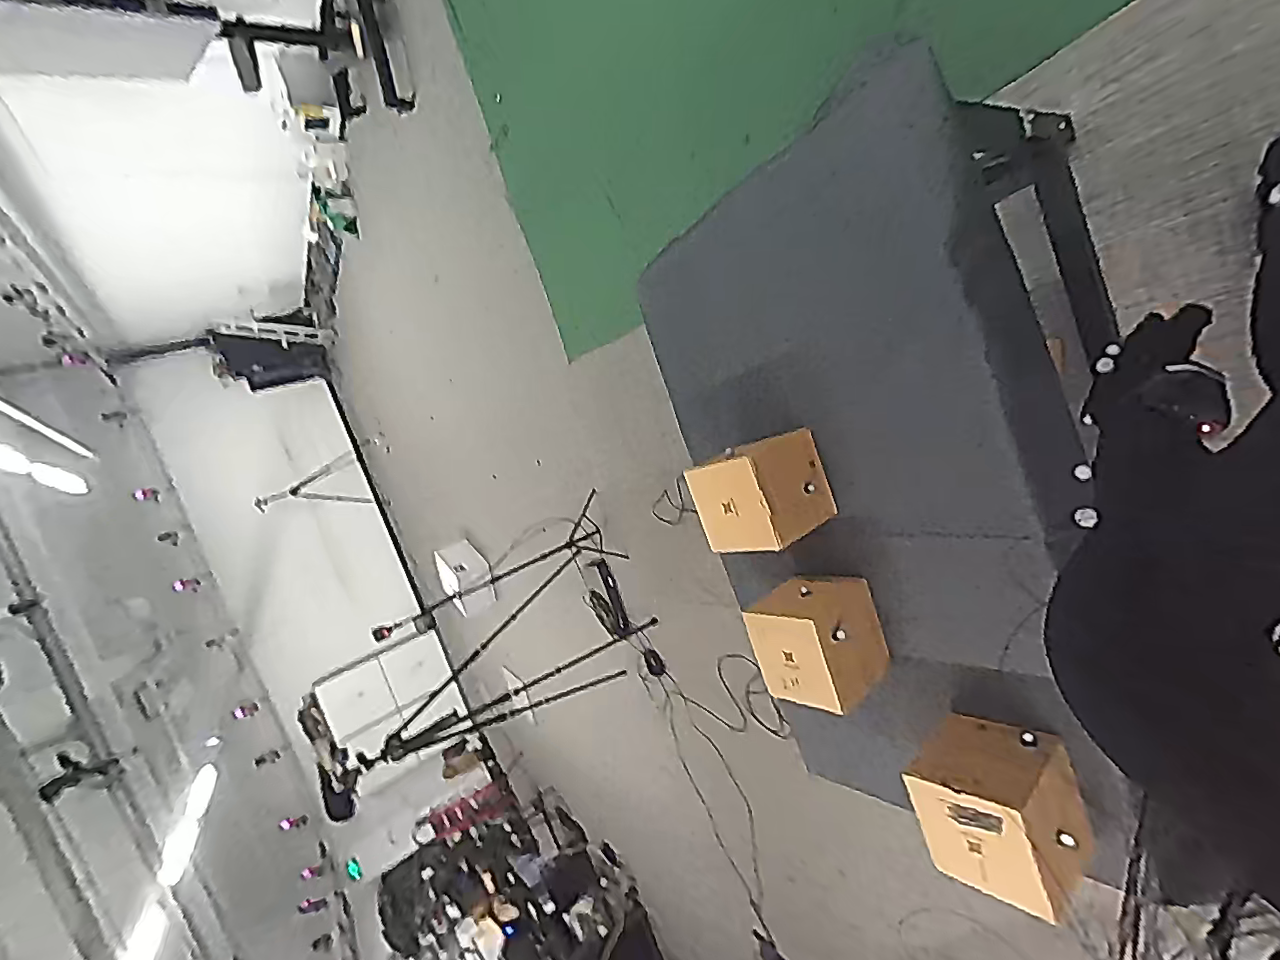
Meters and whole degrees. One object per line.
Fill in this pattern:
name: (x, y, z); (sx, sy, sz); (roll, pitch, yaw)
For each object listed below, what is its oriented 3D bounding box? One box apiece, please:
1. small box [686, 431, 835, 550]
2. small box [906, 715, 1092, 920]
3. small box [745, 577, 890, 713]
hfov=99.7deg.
small box: (0.221, 0.021, 0.996); (0.179, 0.176, 0.168); (-15, 97, 55)
small box: (0.546, 0.491, 0.823); (0.168, 0.176, 0.179); (-15, 97, 56)
small box: (0.329, 0.290, 1.000); (0.168, 0.176, 0.179); (-12, 99, 55)
